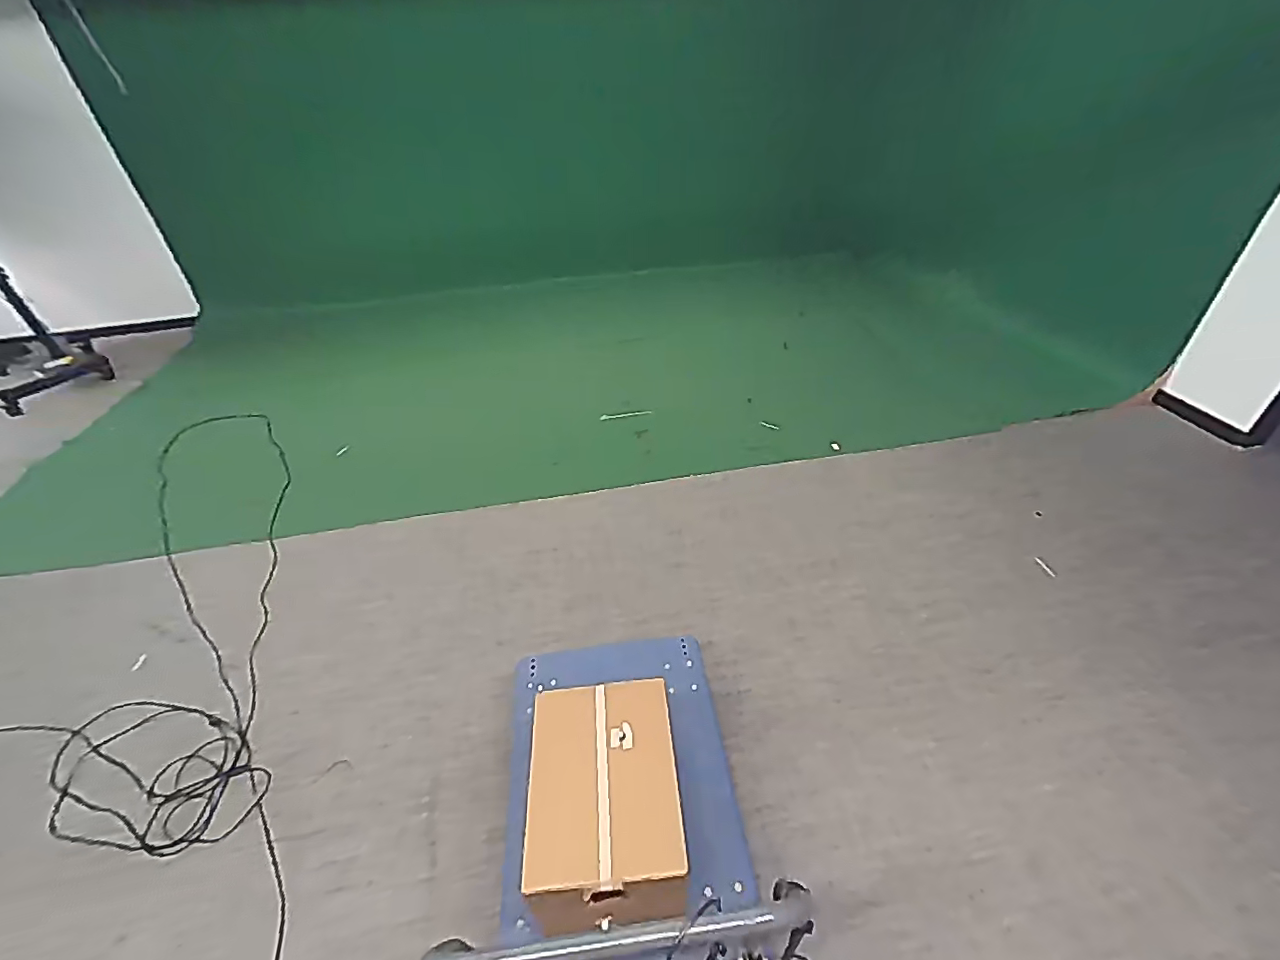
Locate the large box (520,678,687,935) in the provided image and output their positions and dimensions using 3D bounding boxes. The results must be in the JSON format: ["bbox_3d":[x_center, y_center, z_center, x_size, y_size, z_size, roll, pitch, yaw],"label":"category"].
[{"bbox_3d":[-0.076,0.729,1.231,0.320,0.320,0.408,-5,38,-2],"label":"large box"}]
